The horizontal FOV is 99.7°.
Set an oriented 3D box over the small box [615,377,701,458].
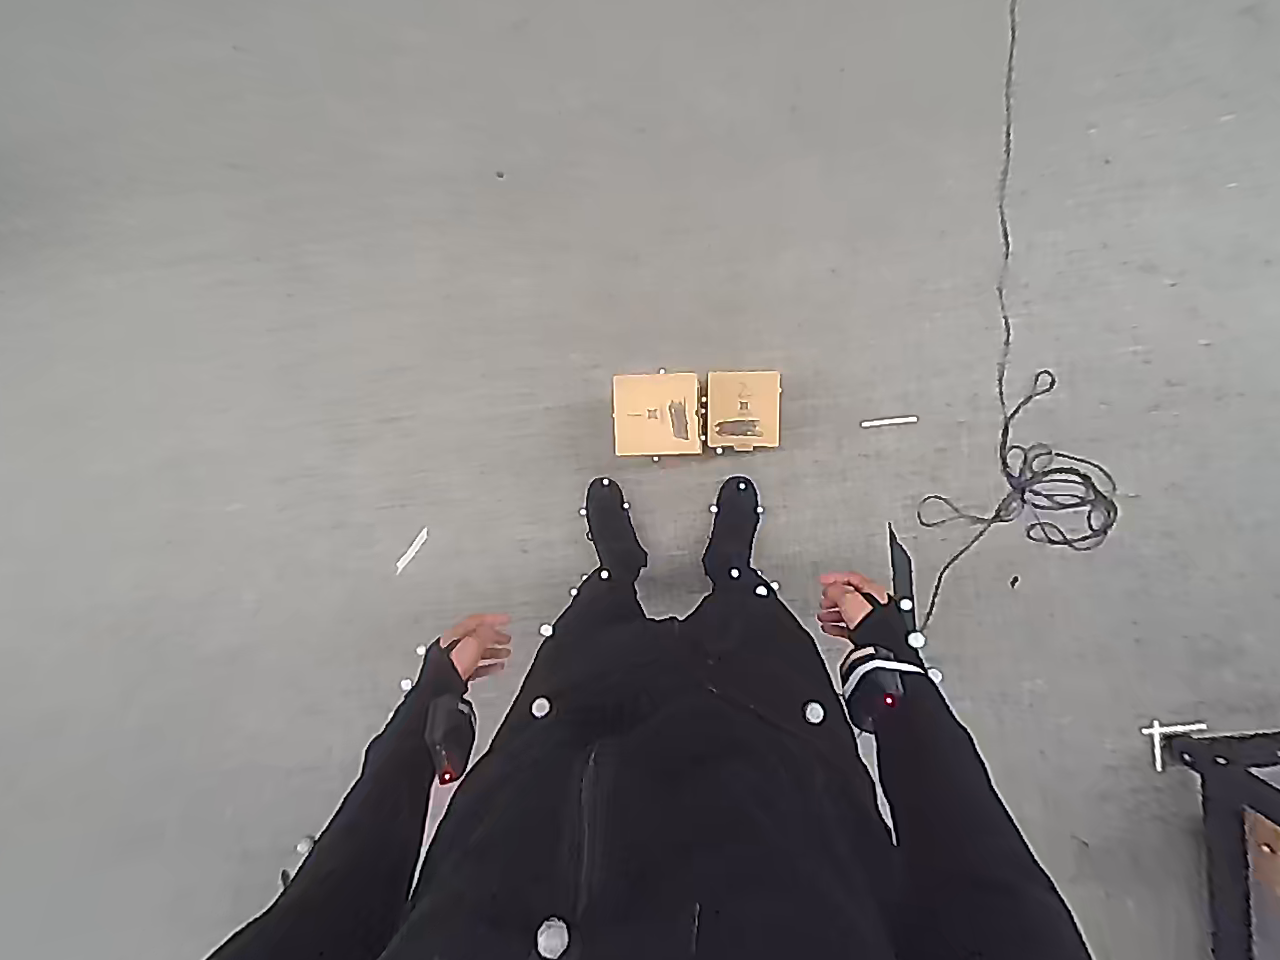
[{"bbox_3d":[0.043,-0.134,1.178,0.179,0.176,0.168,-1,94,6],"label":"small box"}]
